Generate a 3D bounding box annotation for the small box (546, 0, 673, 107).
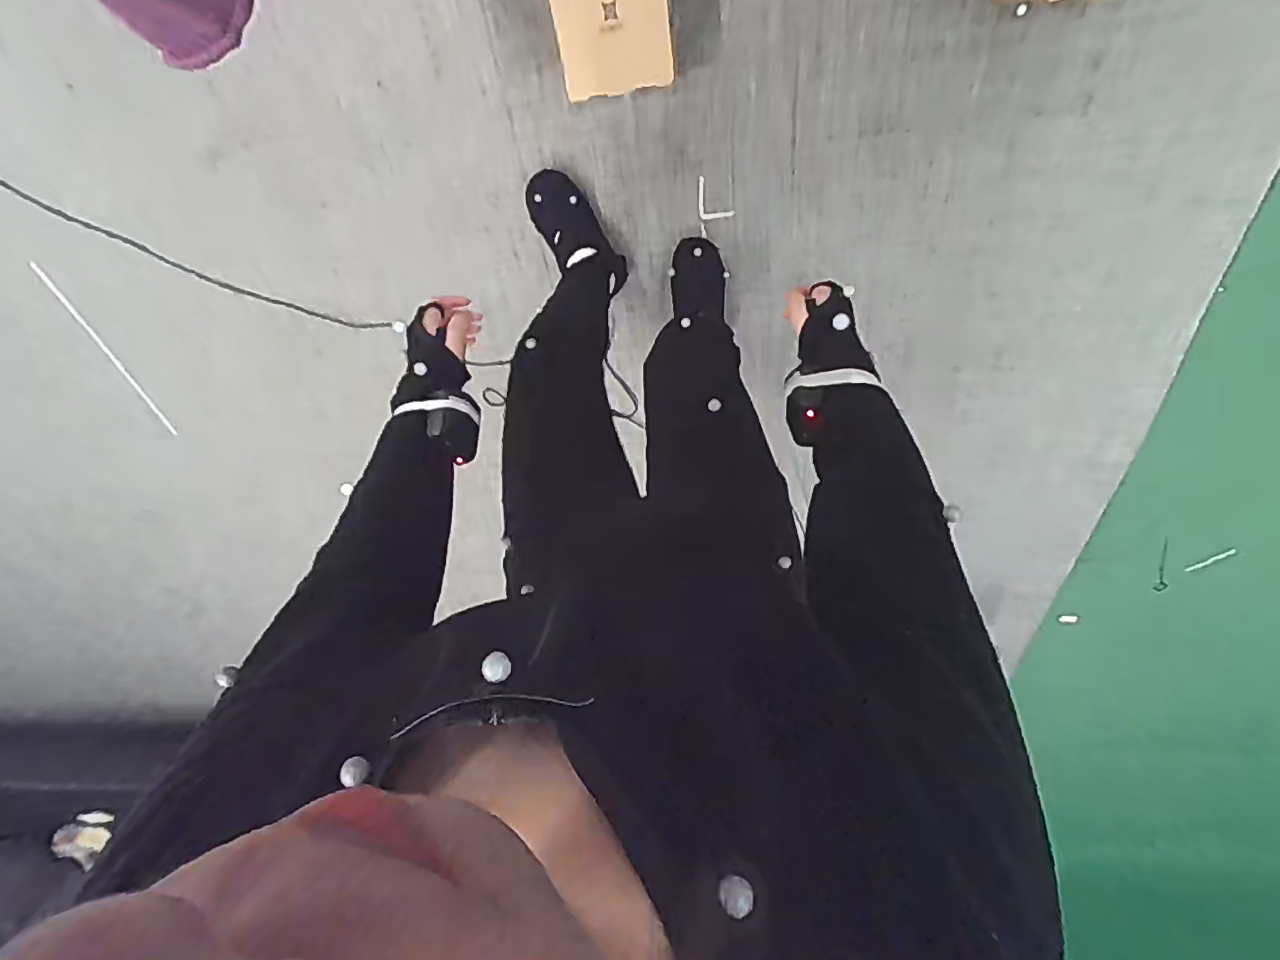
[{"bbox_3d":[-0.040,-0.701,0.830,0.168,0.176,0.179,-5,130,9],"label":"small box"}]
